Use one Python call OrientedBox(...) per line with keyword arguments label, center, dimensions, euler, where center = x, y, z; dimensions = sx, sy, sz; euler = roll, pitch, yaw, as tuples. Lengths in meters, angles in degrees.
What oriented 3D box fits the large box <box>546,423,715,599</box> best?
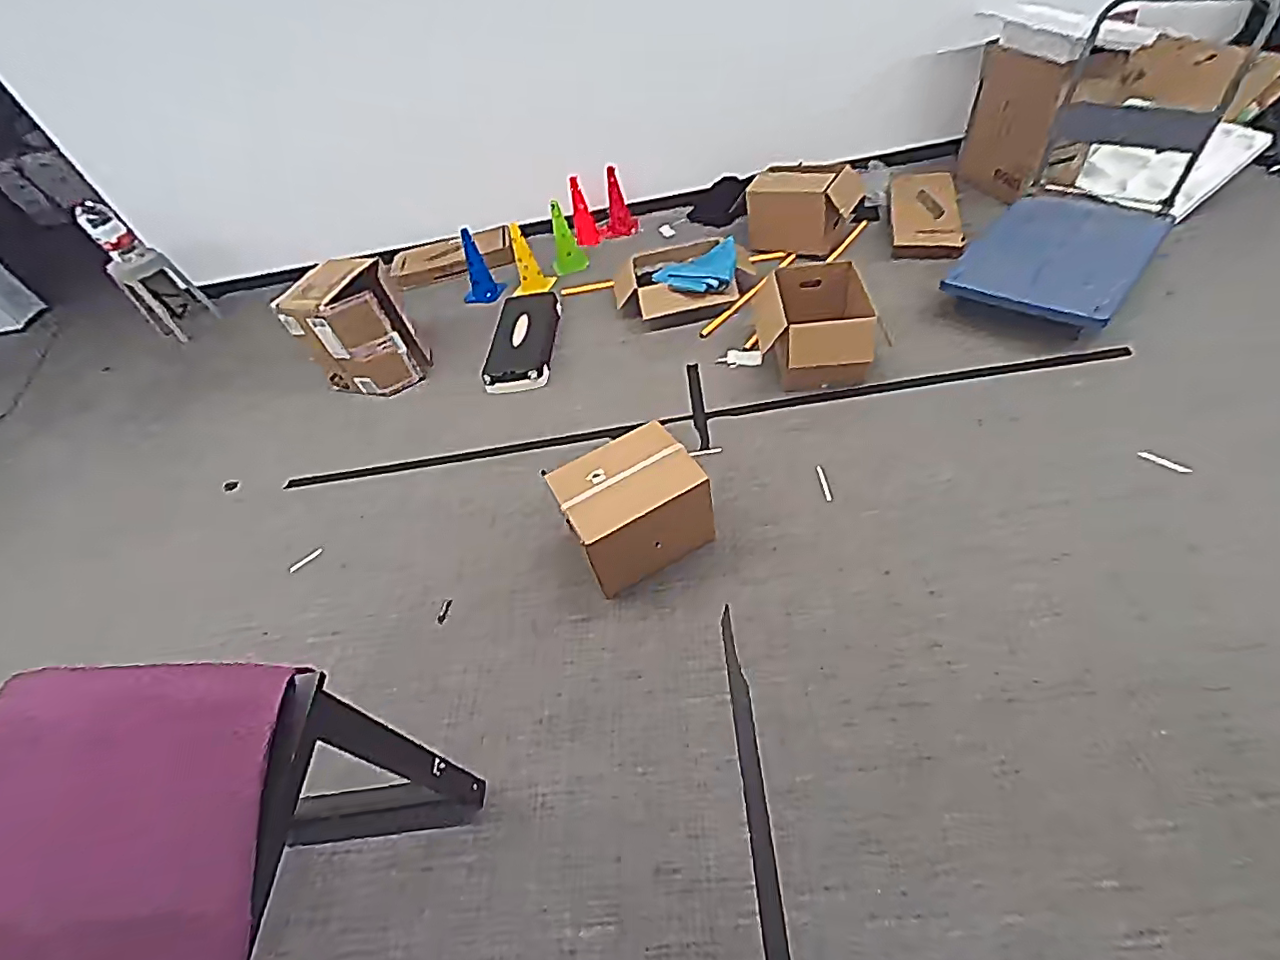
OrientedBox(label="large box", center=(-0.018, 0.097, 1.699), dimensions=(0.408, 0.320, 0.320), euler=(-29, 49, -11))
